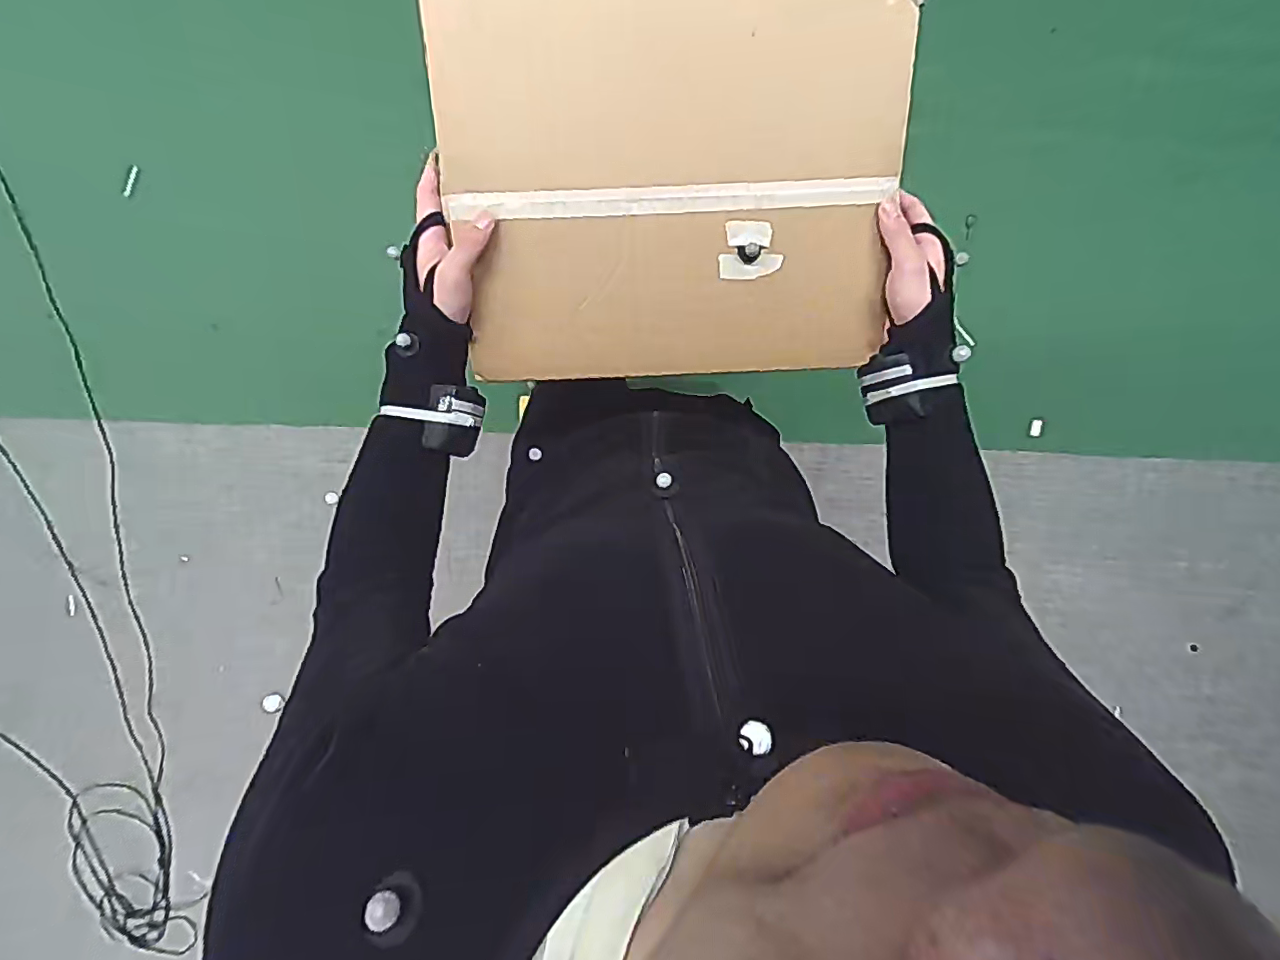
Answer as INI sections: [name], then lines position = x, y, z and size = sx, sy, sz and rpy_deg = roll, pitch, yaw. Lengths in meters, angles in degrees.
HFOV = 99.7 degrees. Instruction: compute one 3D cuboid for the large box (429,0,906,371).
[large box]
position = 0.024, -0.314, 0.633
size = 0.408, 0.320, 0.320
rpy_deg = -3, 110, -2
